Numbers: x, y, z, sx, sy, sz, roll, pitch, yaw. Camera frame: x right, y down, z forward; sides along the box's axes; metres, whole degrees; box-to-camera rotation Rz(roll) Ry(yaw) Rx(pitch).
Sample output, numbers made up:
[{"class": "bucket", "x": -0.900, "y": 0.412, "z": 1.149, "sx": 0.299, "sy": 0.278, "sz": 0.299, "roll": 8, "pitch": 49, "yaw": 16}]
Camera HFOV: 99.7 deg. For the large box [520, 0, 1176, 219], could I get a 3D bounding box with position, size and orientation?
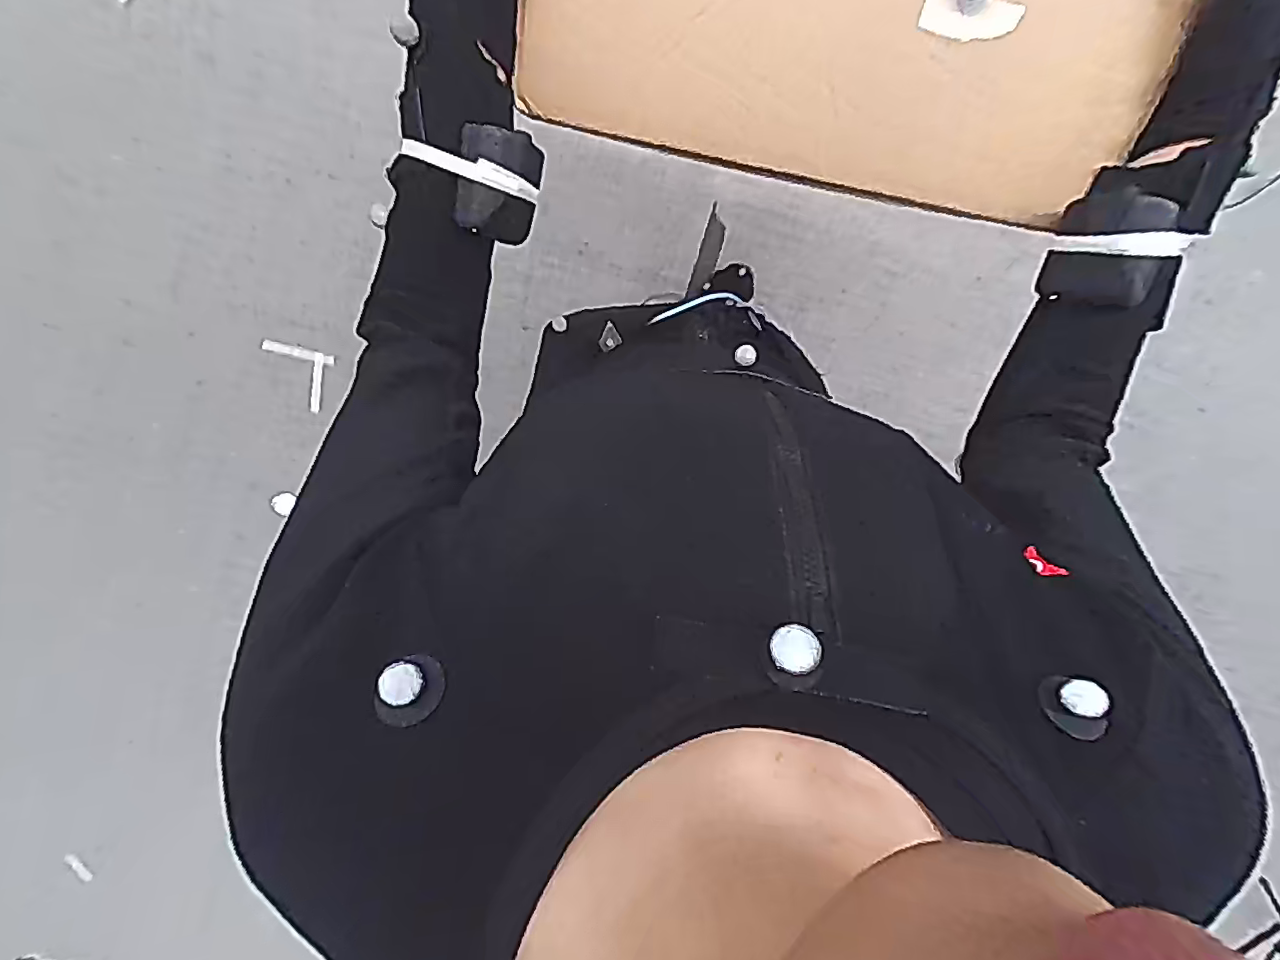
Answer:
[{"class": "large box", "x": 0.140, "y": -0.425, "z": 0.431, "sx": 0.408, "sy": 0.320, "sz": 0.320, "roll": 10, "pitch": 122, "yaw": -4}]
